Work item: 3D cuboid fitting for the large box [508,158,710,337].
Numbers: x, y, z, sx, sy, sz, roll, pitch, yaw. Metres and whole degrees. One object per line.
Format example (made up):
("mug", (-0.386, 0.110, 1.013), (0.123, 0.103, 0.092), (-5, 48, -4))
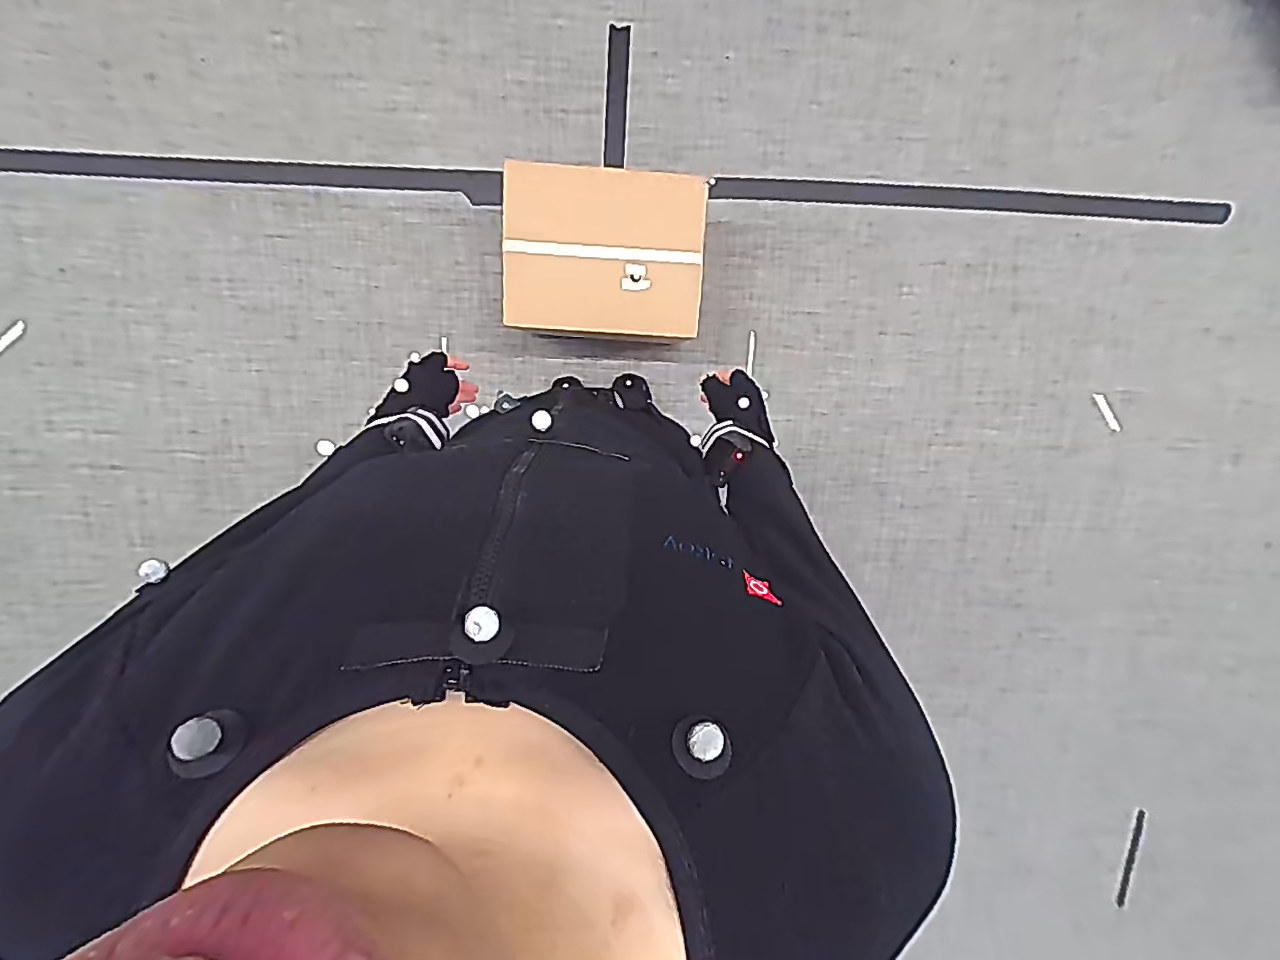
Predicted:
("large box", (-0.075, -0.500, 1.237), (0.408, 0.320, 0.320), (2, 103, -4))
